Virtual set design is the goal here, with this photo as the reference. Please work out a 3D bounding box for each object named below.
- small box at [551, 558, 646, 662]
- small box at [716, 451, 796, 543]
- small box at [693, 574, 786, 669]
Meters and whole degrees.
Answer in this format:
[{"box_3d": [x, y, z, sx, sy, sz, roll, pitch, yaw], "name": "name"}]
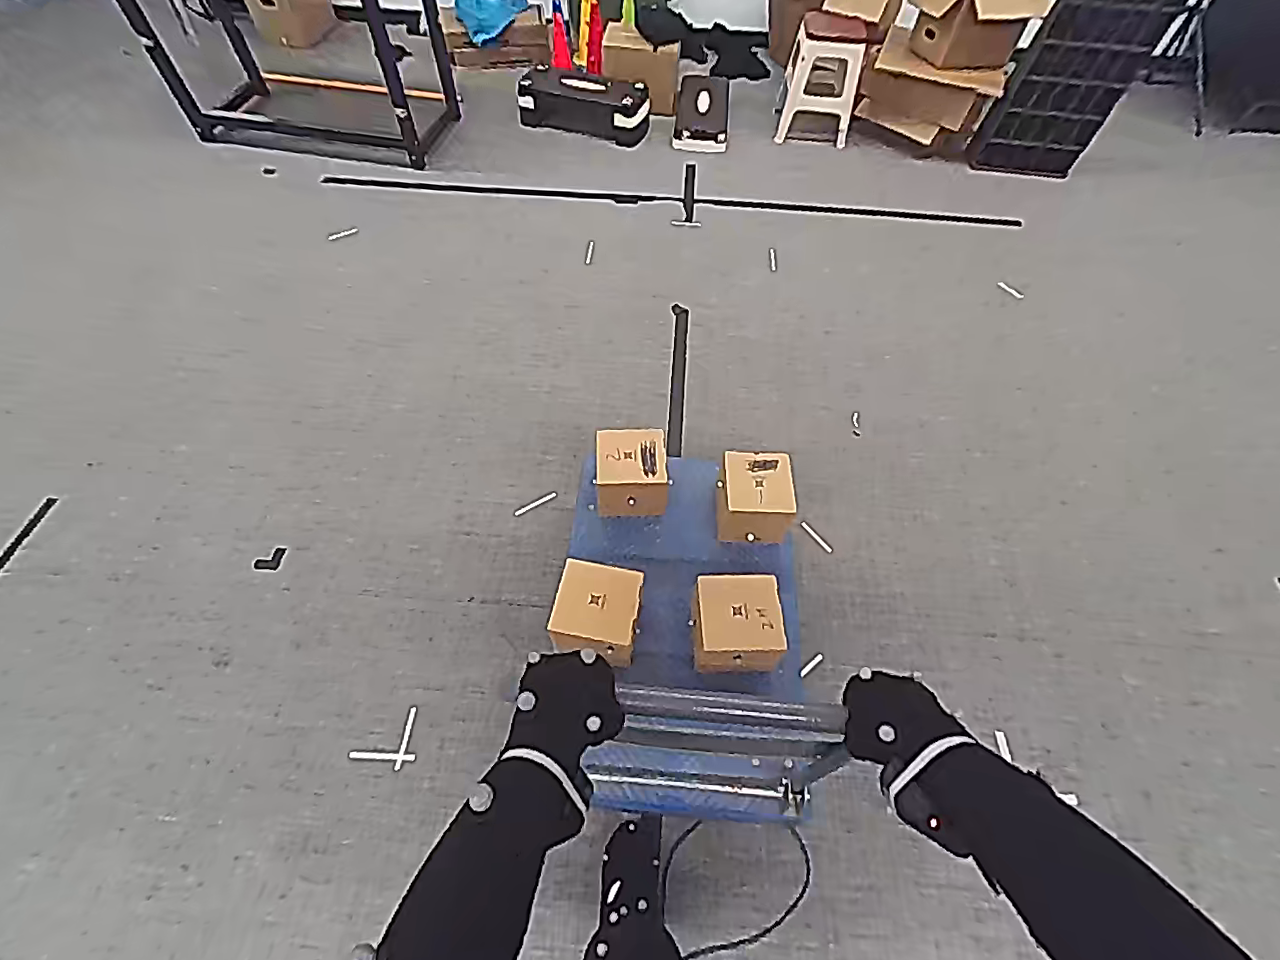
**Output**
[{"box_3d": [-0.090, 0.298, 1.221, 0.179, 0.176, 0.168, 11, 57, 3], "name": "small box"}, {"box_3d": [0.292, 0.046, 1.399, 0.168, 0.176, 0.179, 2, 58, -1], "name": "small box"}, {"box_3d": [0.214, 0.321, 1.216, 0.179, 0.176, 0.168, 0, 57, -2], "name": "small box"}]
